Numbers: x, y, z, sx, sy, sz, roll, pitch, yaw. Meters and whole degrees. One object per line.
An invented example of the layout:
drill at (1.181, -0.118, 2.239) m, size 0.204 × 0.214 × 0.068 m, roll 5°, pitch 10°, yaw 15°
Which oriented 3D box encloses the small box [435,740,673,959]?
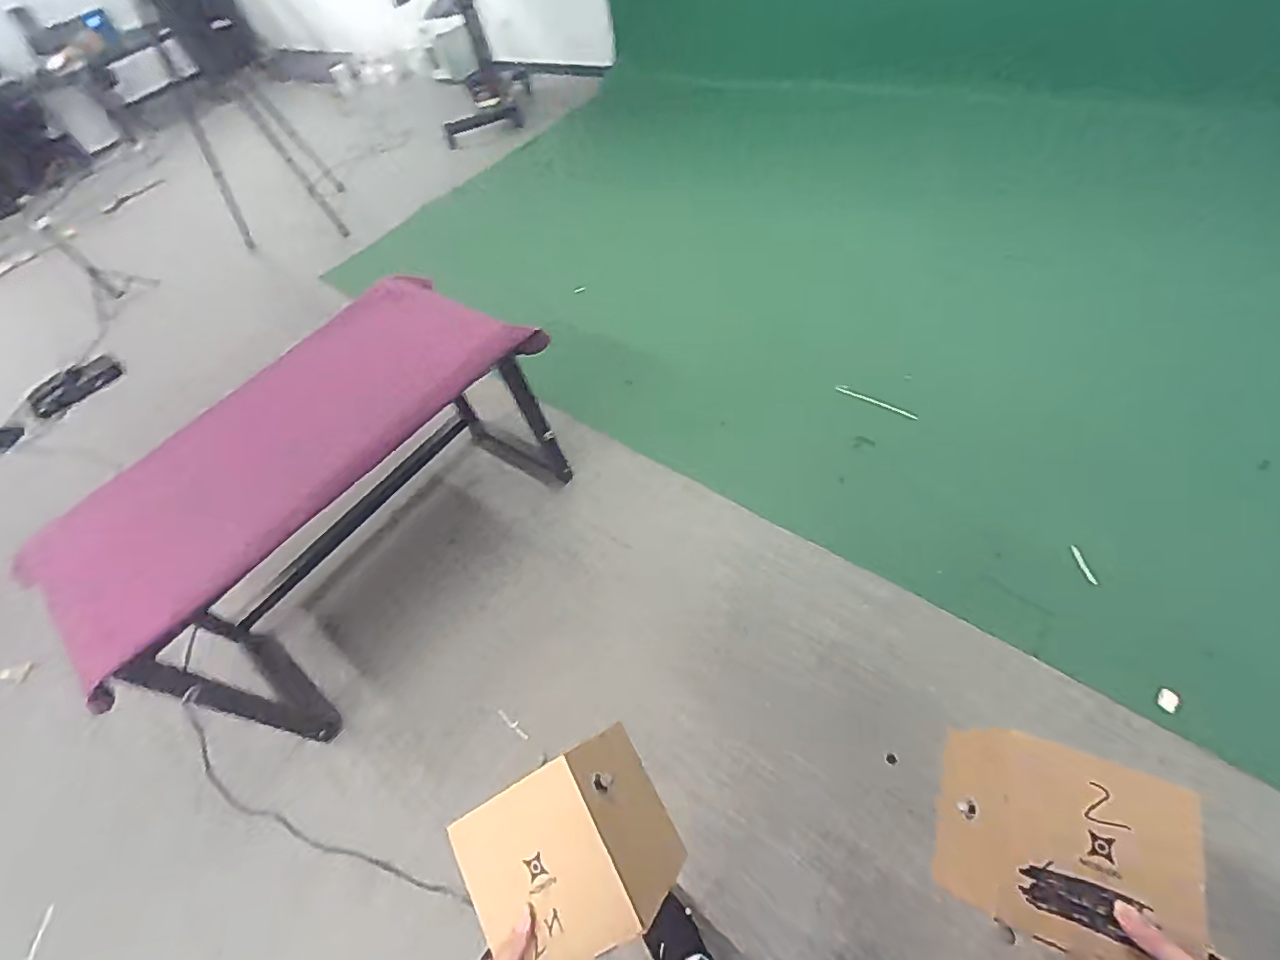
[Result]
small box at (-0.088, 0.417, 0.607) m, size 0.168 × 0.176 × 0.179 m, roll -35°, pitch 69°, yaw 9°
